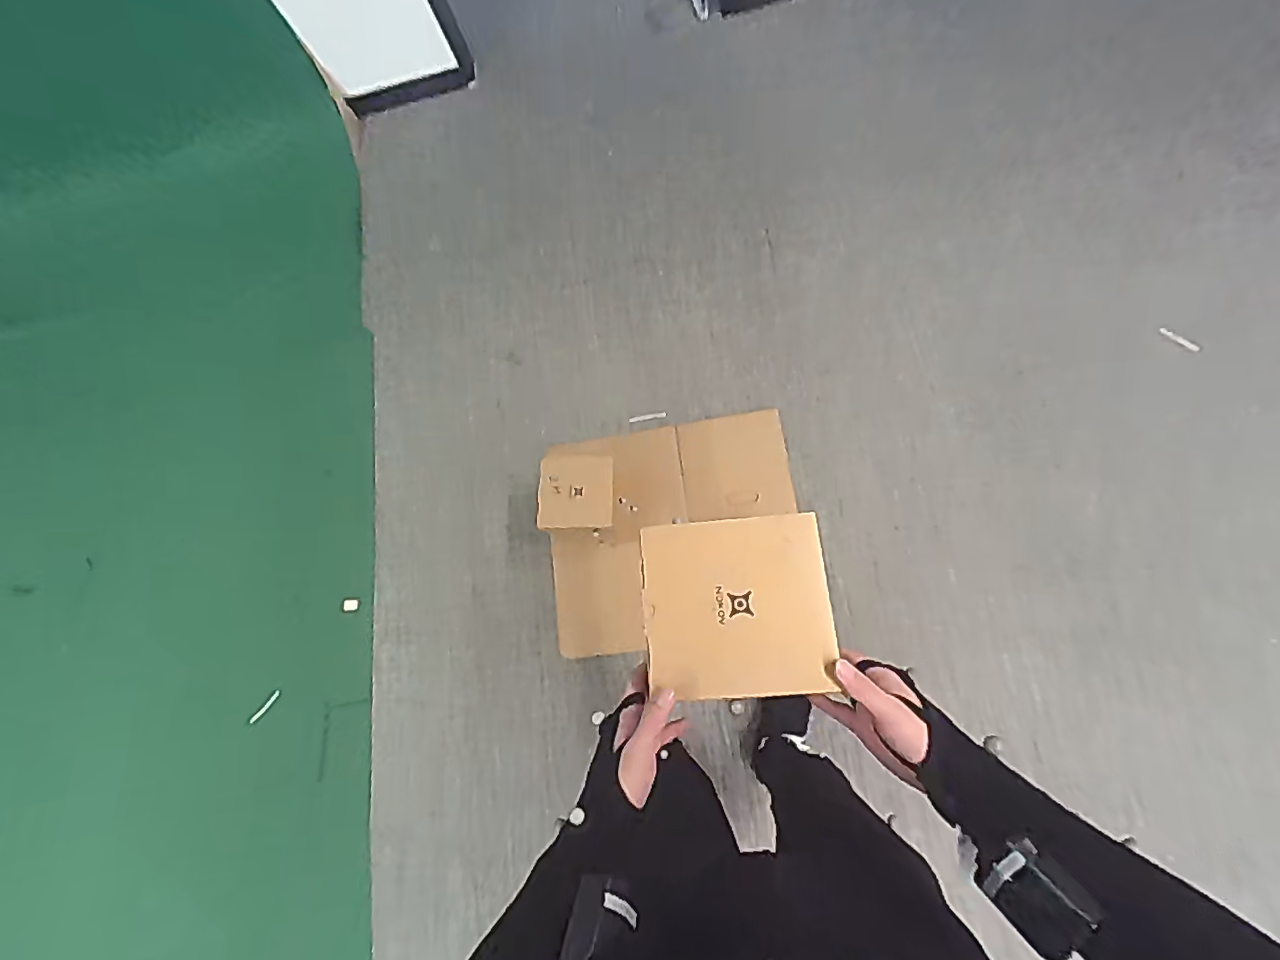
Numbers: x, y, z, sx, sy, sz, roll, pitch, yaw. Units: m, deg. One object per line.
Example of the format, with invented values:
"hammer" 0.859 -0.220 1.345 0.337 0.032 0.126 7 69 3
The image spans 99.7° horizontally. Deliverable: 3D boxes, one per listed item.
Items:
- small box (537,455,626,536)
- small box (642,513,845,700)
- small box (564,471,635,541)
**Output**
"small box" -0.132 0.041 1.292 0.179 0.176 0.168 -1 76 9
"small box" 0.102 0.138 0.586 0.179 0.176 0.168 -6 73 6
"small box" -0.110 0.073 1.454 0.179 0.176 0.168 -1 76 9
